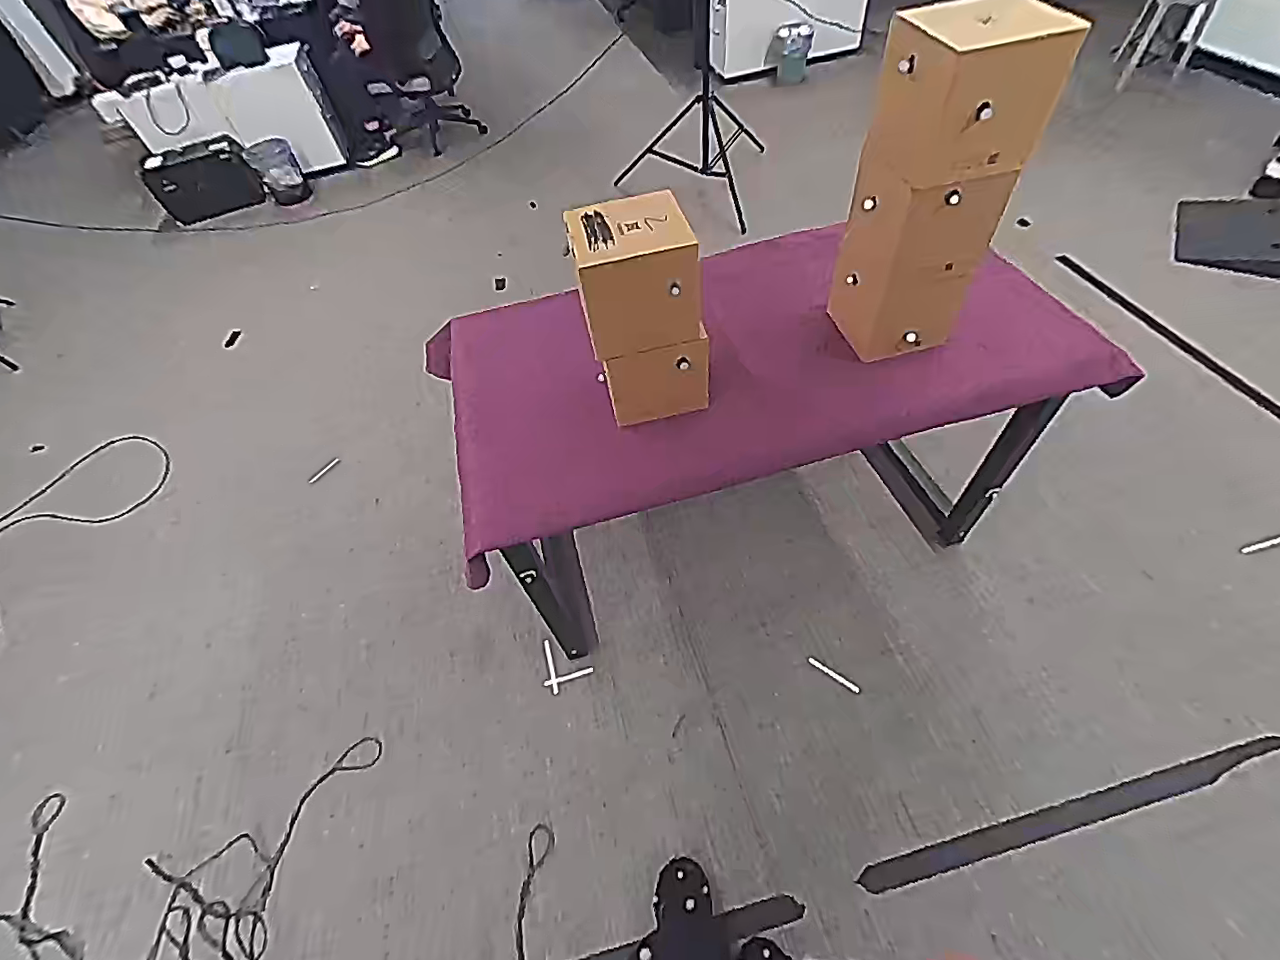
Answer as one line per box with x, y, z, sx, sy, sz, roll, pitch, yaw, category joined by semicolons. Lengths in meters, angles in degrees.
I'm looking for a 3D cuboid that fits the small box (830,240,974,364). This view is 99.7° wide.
0.481;-0.349;1.027;0.168;0.176;0.179;-14;54;-2;small box

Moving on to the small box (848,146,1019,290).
0.464;-0.443;0.893;0.168;0.176;0.179;-12;52;-1;small box

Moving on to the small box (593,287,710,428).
0.022;-0.221;0.991;0.179;0.176;0.168;-13;52;-2;small box

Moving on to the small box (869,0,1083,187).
0.449;-0.534;0.759;0.168;0.176;0.179;-12;53;-1;small box
